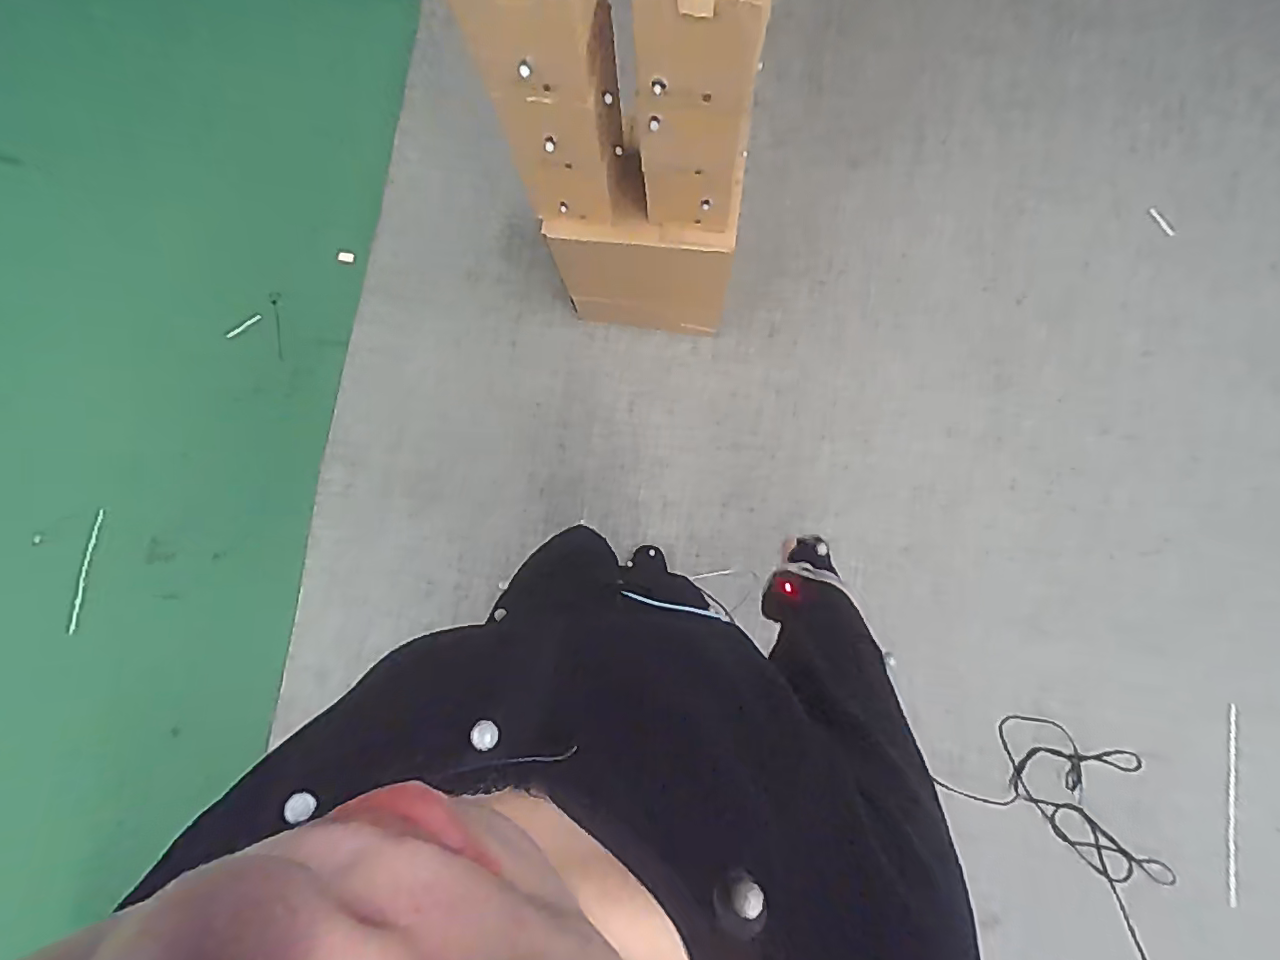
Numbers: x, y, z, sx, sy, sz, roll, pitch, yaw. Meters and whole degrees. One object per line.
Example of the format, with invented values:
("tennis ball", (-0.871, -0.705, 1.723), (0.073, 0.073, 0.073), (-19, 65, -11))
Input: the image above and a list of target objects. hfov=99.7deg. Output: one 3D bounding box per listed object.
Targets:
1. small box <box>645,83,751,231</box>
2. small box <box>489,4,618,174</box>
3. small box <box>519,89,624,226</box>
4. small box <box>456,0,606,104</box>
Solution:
("small box", (0.111, -0.616, 1.050), (0.168, 0.176, 0.179), (11, 84, 5))
("small box", (-0.134, -0.648, 0.904), (0.168, 0.176, 0.179), (9, 86, 3))
("small box", (-0.125, -0.637, 1.067), (0.168, 0.176, 0.179), (8, 85, 3))
("small box", (-0.144, -0.667, 0.739), (0.168, 0.176, 0.179), (10, 85, 4))
